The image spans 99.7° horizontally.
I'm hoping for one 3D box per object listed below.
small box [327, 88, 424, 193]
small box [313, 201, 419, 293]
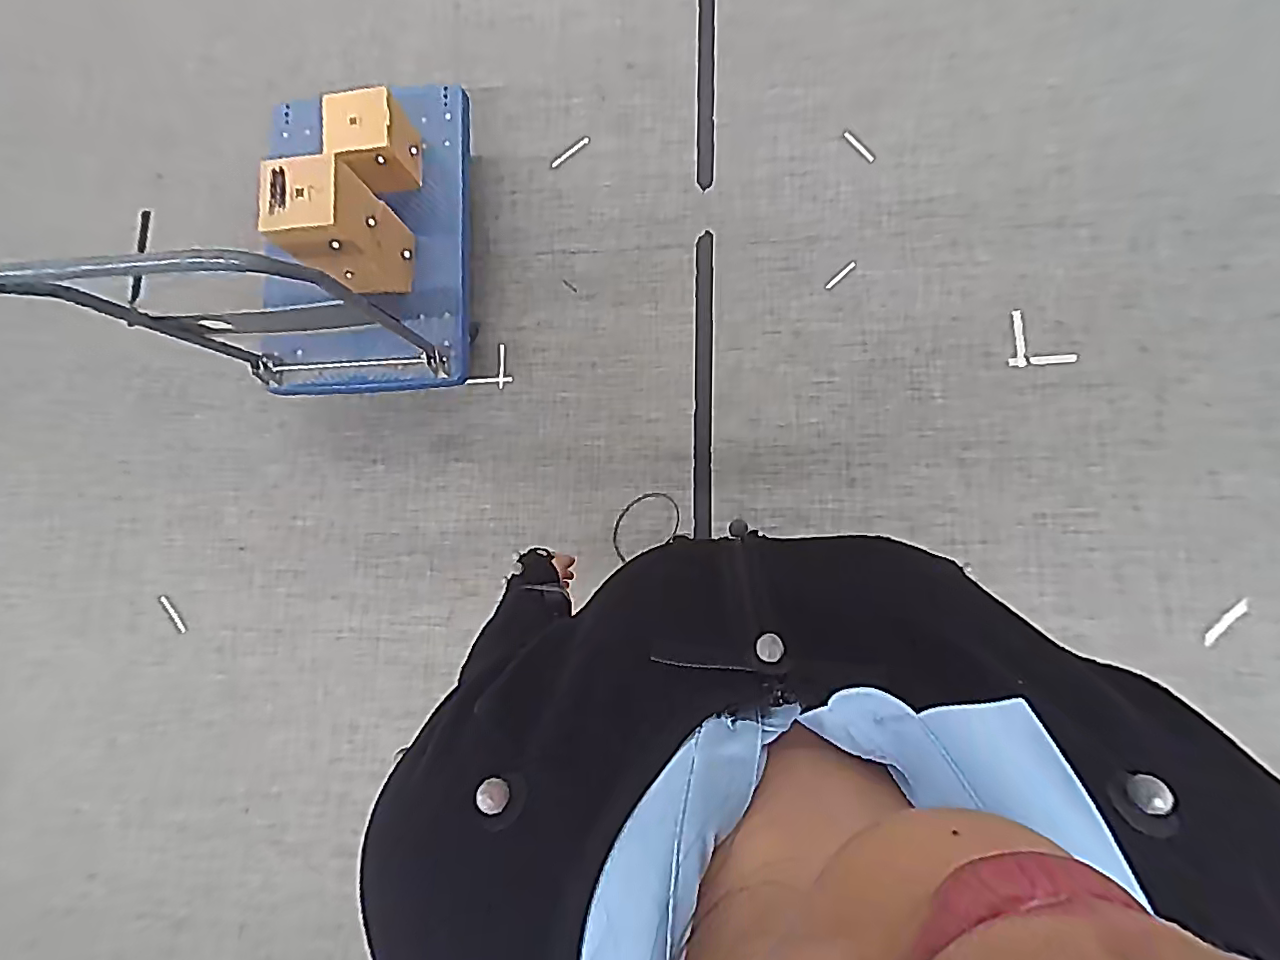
[{"bbox_3d":[-0.697,-0.890,1.435,0.179,0.176,0.168,-5,84,5],"label":"small box"},{"bbox_3d":[-0.705,-0.597,1.404,0.179,0.176,0.168,2,85,5],"label":"small box"}]
